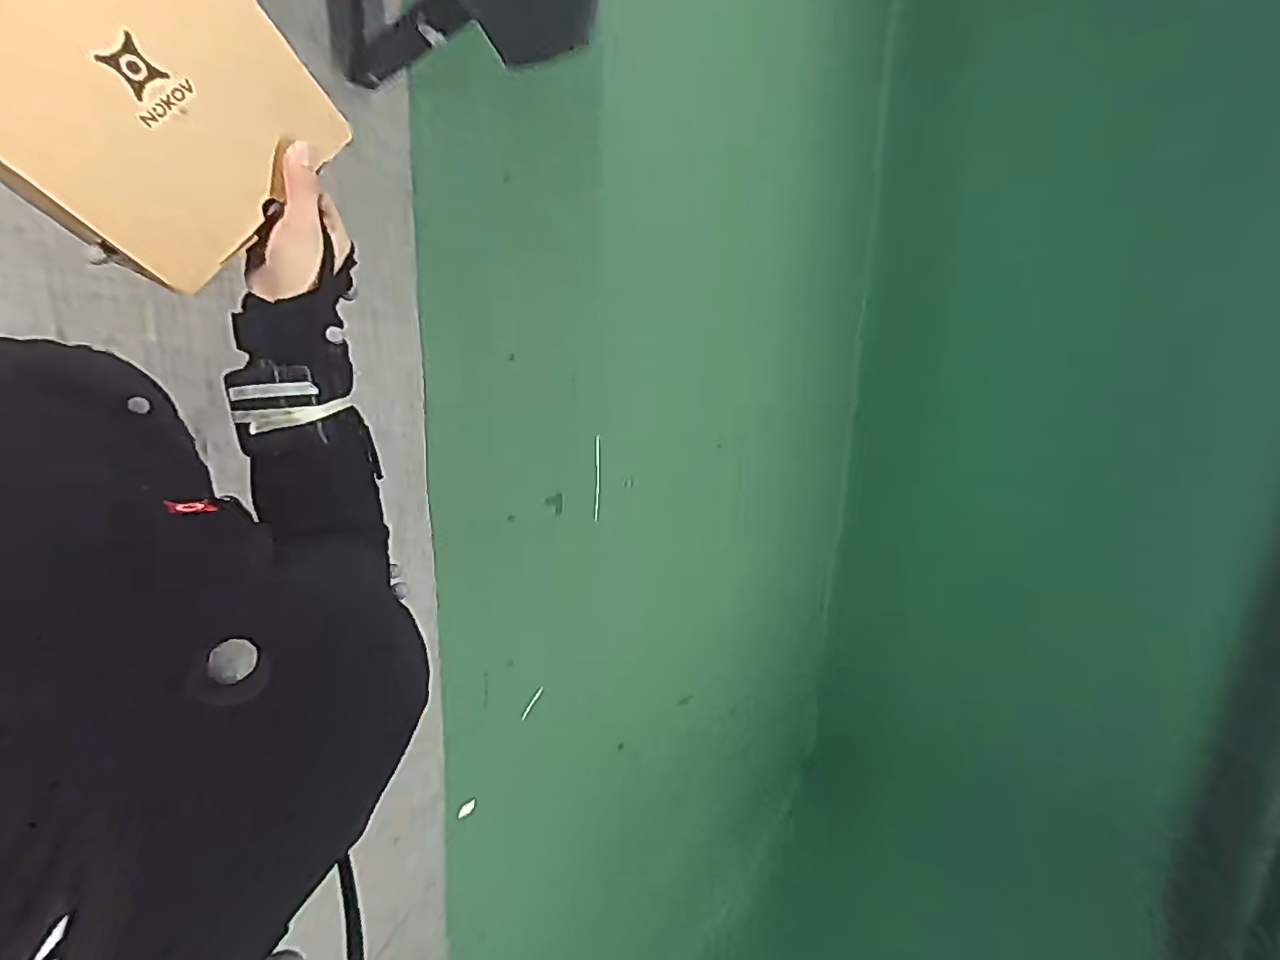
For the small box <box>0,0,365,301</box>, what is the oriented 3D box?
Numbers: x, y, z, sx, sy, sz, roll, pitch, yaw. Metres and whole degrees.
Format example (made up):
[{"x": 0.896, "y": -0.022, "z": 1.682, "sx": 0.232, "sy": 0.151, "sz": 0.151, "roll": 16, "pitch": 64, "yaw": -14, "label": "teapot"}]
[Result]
[{"x": -0.332, "y": -0.247, "z": 0.343, "sx": 0.168, "sy": 0.176, "sz": 0.179, "roll": -56, "pitch": 150, "yaw": -15, "label": "small box"}]
